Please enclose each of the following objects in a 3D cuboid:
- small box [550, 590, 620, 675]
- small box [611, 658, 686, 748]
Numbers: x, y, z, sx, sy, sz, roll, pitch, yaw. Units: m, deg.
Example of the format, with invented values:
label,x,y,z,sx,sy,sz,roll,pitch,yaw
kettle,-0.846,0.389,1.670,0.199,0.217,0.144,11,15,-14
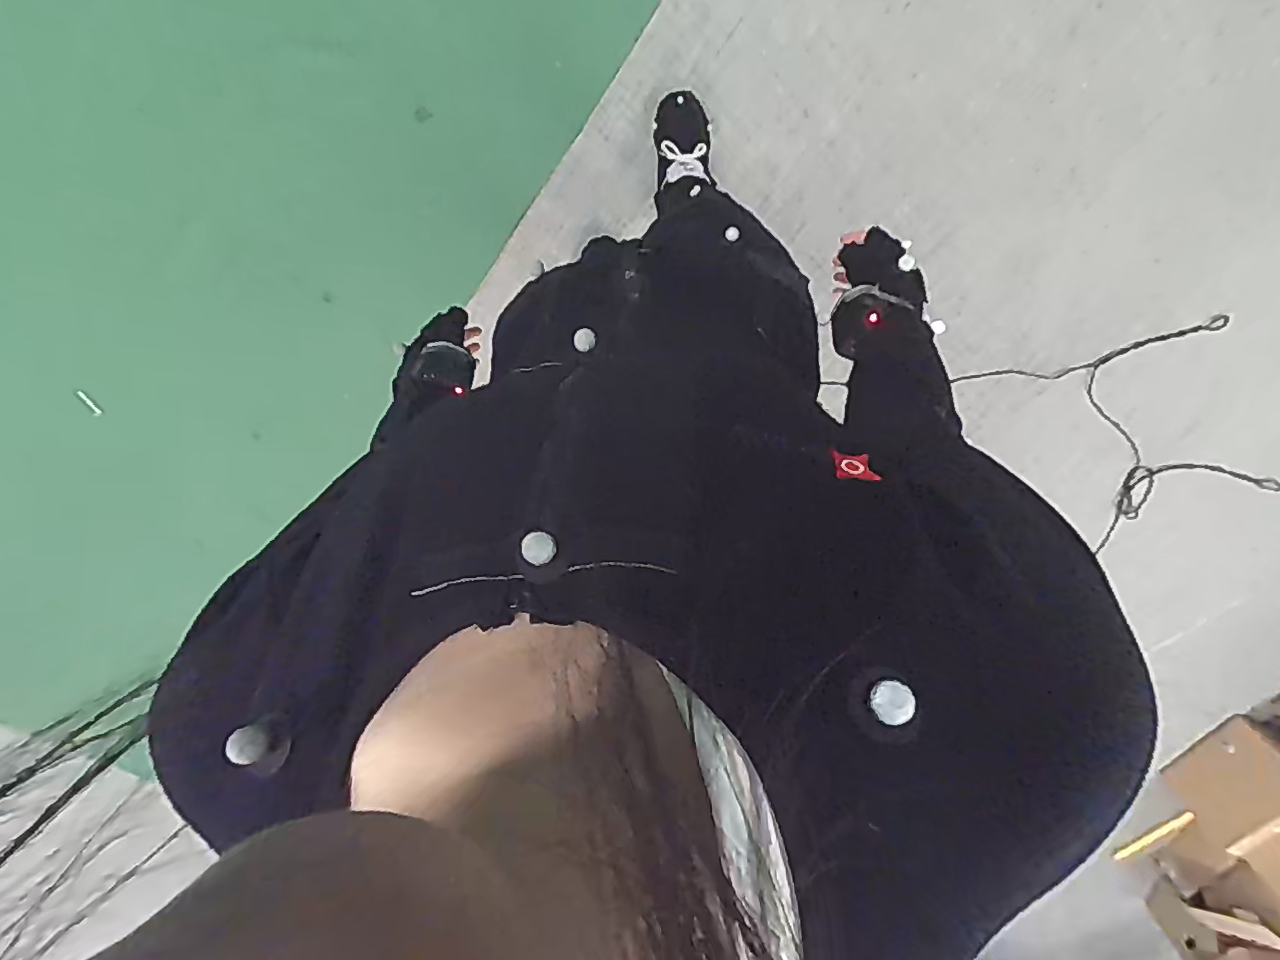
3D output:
label,x,y,z,sx,sy,sz,roll,pitch,yaw
small box,-0.176,0.503,1.795,0.168,0.176,0.179,31,115,-15
small box,0.027,0.706,1.717,0.168,0.176,0.179,35,114,-19
